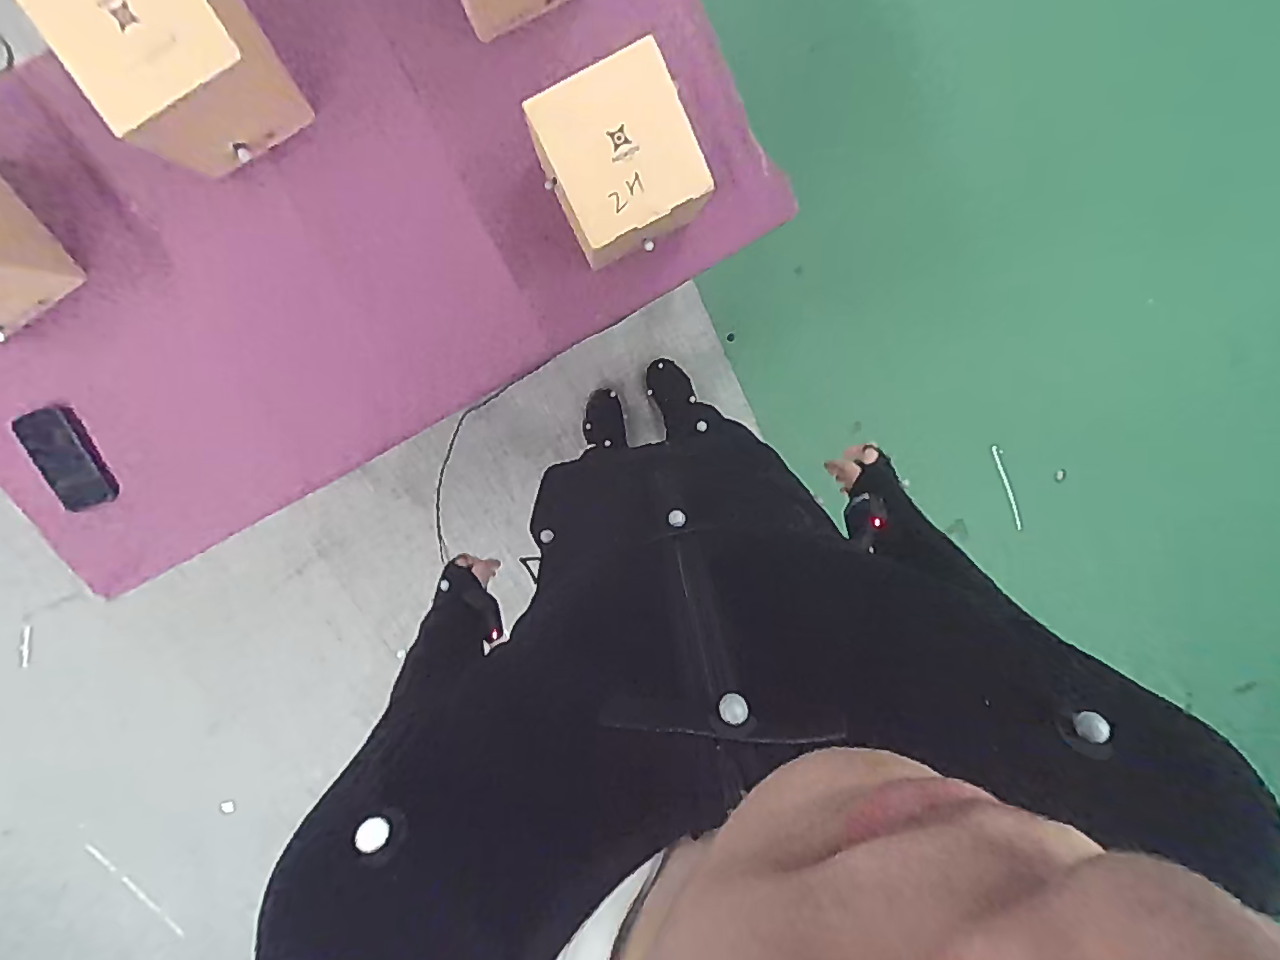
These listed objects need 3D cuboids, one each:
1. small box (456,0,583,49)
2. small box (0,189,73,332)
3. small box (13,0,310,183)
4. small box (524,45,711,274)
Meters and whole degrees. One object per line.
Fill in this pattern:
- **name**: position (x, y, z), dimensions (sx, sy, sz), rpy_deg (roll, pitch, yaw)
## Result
- **small box**: position (-0.171, -0.670, 0.632), dimensions (0.168, 0.176, 0.179), rpy_deg (-26, 103, 1)
- **small box**: position (-0.866, -0.277, 0.643), dimensions (0.168, 0.176, 0.179), rpy_deg (-33, 103, 1)
- **small box**: position (-0.541, -0.490, 0.633), dimensions (0.168, 0.176, 0.179), rpy_deg (-29, 104, 2)
- **small box**: position (-0.031, -0.394, 0.701), dimensions (0.168, 0.176, 0.179), rpy_deg (-26, 103, 2)
